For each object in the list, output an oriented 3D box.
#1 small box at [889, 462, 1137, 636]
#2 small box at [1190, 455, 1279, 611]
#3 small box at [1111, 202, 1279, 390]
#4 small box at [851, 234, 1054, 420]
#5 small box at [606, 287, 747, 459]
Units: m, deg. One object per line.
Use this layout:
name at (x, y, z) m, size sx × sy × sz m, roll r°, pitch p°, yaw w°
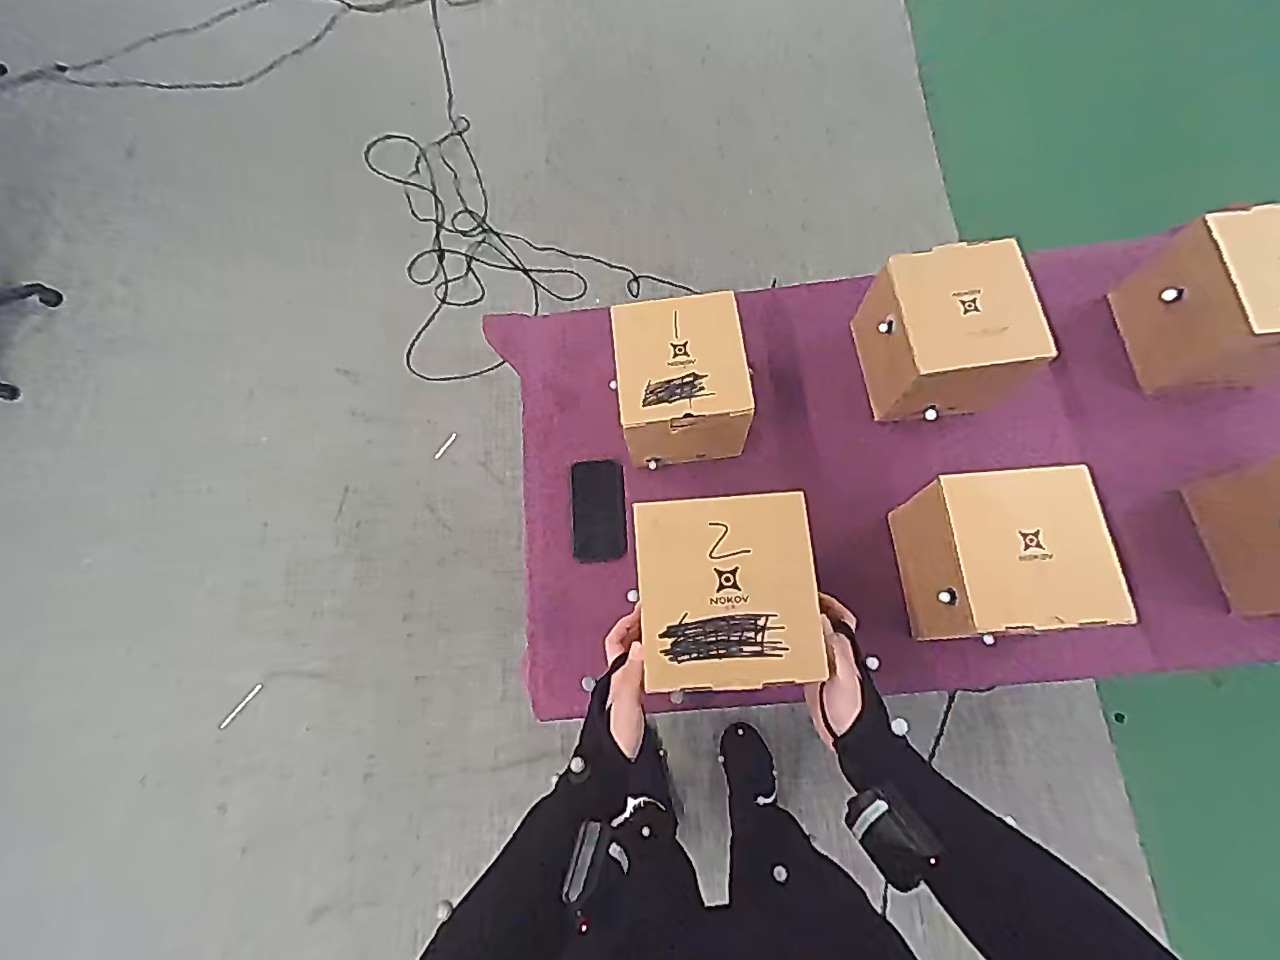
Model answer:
small box at (0.425, 0.091, 0.655) m, size 0.168 × 0.176 × 0.179 m, roll -4°, pitch 72°, yaw 3°
small box at (0.819, 0.052, 0.631) m, size 0.168 × 0.176 × 0.179 m, roll -7°, pitch 73°, yaw 4°
small box at (0.795, -0.241, 0.727) m, size 0.168 × 0.176 × 0.179 m, roll -5°, pitch 72°, yaw 4°
small box at (0.410, -0.201, 0.746) m, size 0.168 × 0.176 × 0.179 m, roll -7°, pitch 73°, yaw 3°
small box at (0.050, -0.136, 0.753) m, size 0.168 × 0.176 × 0.179 m, roll -7°, pitch 72°, yaw 2°
